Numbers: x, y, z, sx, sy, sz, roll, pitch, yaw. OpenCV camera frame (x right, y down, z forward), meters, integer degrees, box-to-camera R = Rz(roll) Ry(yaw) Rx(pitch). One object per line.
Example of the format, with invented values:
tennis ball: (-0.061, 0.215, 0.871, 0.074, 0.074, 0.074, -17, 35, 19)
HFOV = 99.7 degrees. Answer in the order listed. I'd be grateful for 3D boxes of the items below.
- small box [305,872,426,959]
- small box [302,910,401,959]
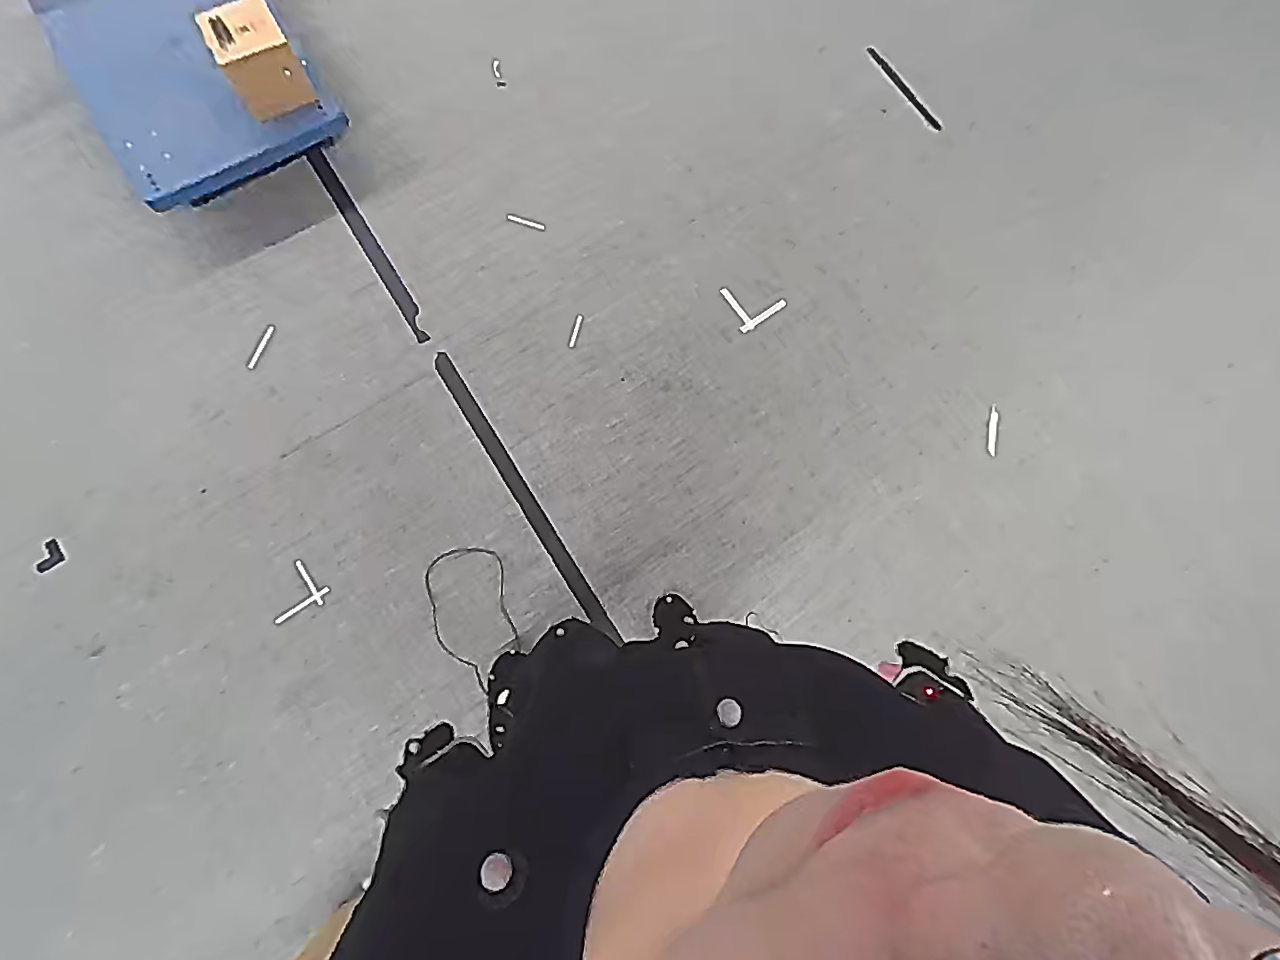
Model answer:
small box: (-0.617, 1.063, 1.246, 0.179, 0.176, 0.168, -29, 82, -8)
small box: (-0.600, 1.027, 1.085, 0.179, 0.176, 0.168, -27, 82, -7)
